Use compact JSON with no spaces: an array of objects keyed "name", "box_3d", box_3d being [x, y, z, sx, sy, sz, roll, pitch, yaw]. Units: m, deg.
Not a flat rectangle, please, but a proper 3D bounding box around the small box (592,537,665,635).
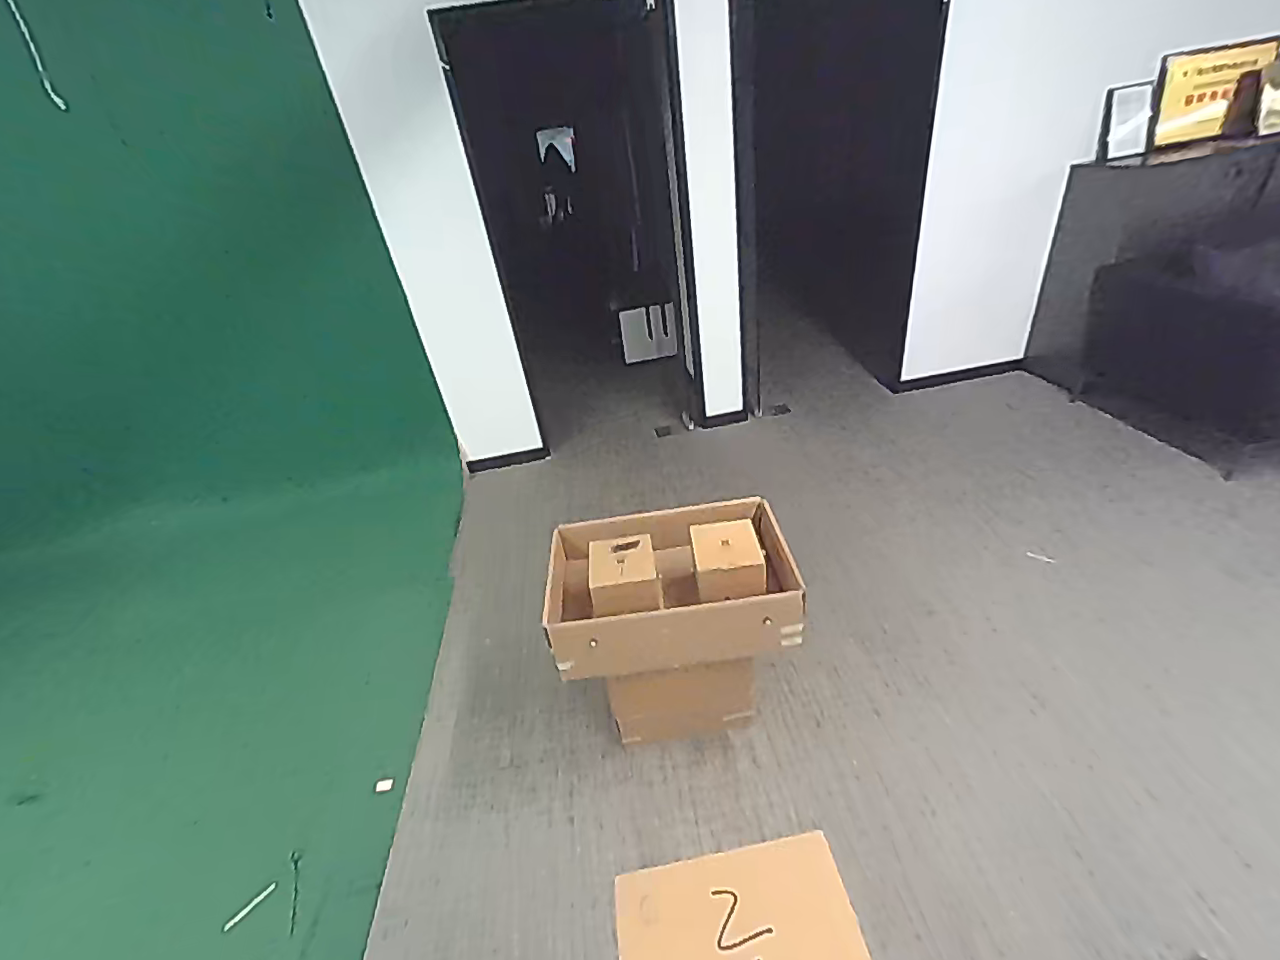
[{"name":"small box","box_3d":[-0.030,0.275,1.407,0.168,0.176,0.179,-9,33,1]}]
